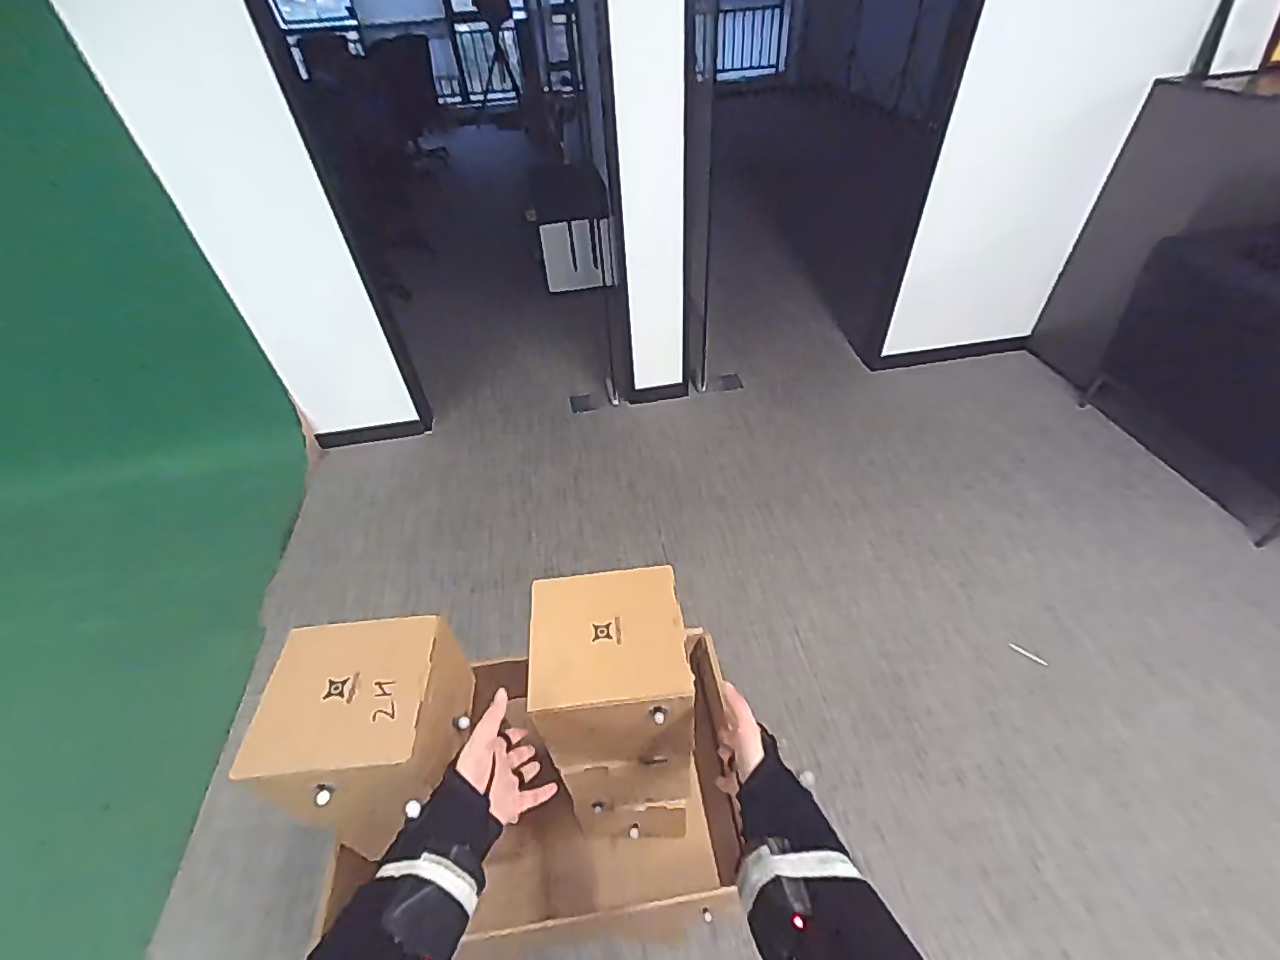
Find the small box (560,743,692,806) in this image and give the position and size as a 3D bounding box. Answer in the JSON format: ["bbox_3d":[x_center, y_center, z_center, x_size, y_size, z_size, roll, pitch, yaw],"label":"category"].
[{"bbox_3d":[-0.017,0.350,0.780,0.168,0.176,0.179,-6,43,-1],"label":"small box"}]

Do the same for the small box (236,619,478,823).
[{"bbox_3d":[-0.309,0.286,0.638,0.179,0.176,0.168,-5,44,-1],"label":"small box"}]

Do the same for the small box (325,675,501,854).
[{"bbox_3d":[-0.298,0.400,0.757,0.168,0.176,0.179,-7,43,-3],"label":"small box"}]

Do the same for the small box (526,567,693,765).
[{"bbox_3d":[-0.033,0.232,0.669,0.179,0.176,0.168,-7,43,-2],"label":"small box"}]
